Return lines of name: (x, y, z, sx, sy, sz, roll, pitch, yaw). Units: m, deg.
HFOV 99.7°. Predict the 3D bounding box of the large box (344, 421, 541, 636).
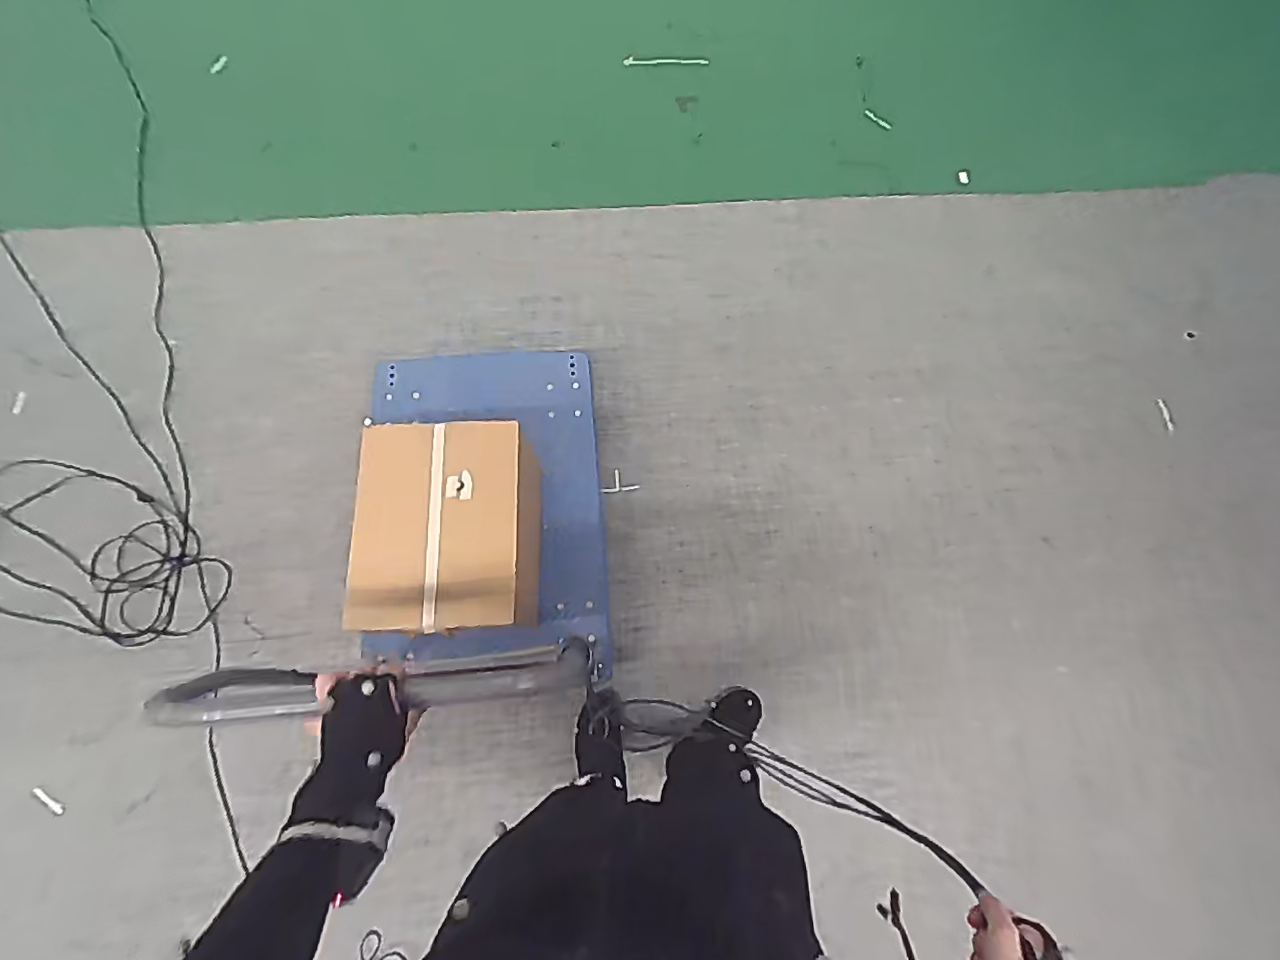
large box: (-0.393, 0.120, 1.172, 0.320, 0.320, 0.408, -1, 74, -3)
